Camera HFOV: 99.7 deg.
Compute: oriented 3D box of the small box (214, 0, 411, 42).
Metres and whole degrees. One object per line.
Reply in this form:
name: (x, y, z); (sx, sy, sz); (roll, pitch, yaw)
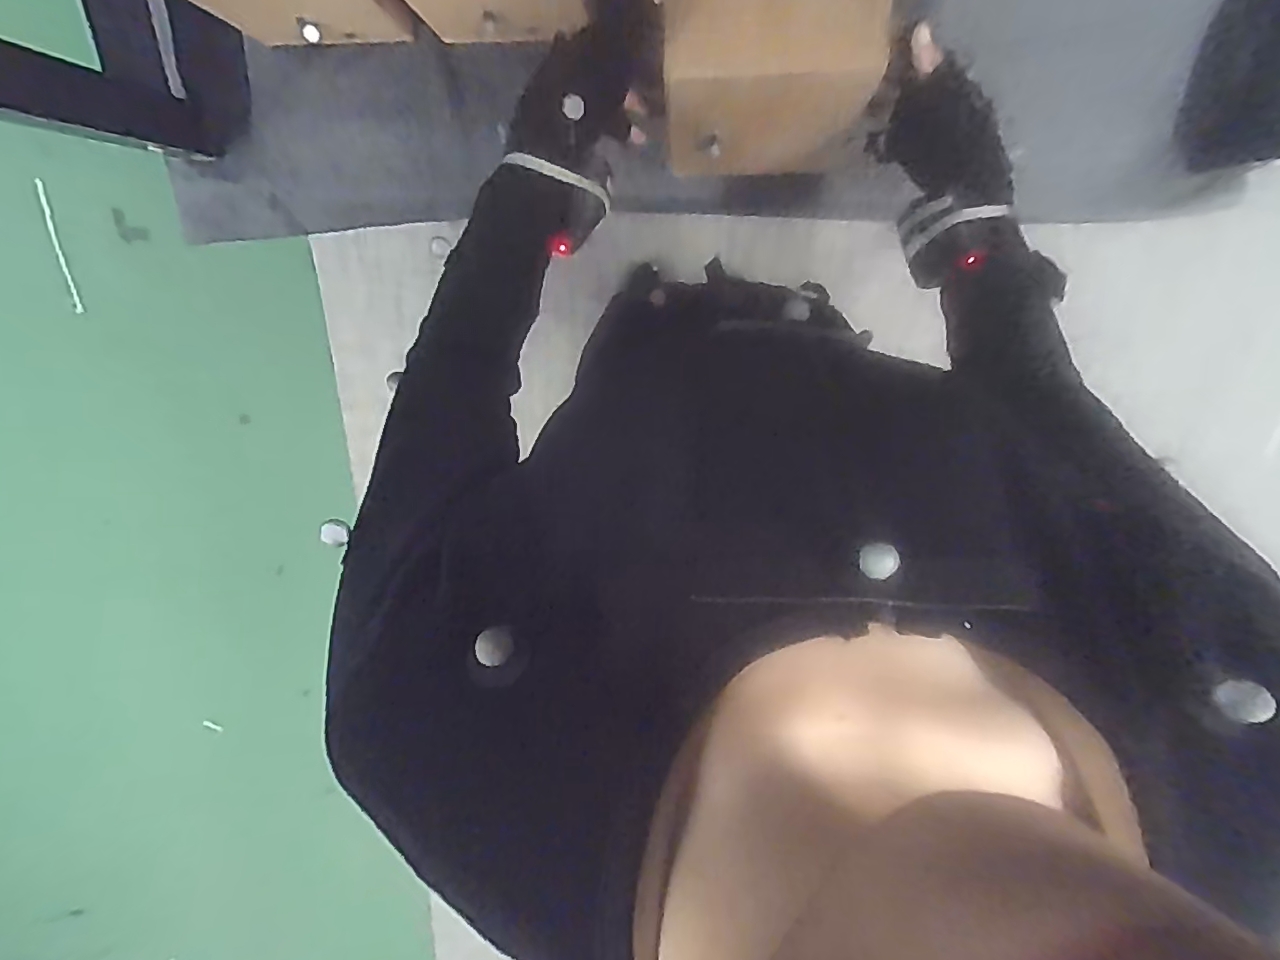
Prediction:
small box: (-0.323, -0.520, 0.469); (0.168, 0.176, 0.179); (0, 112, 3)
